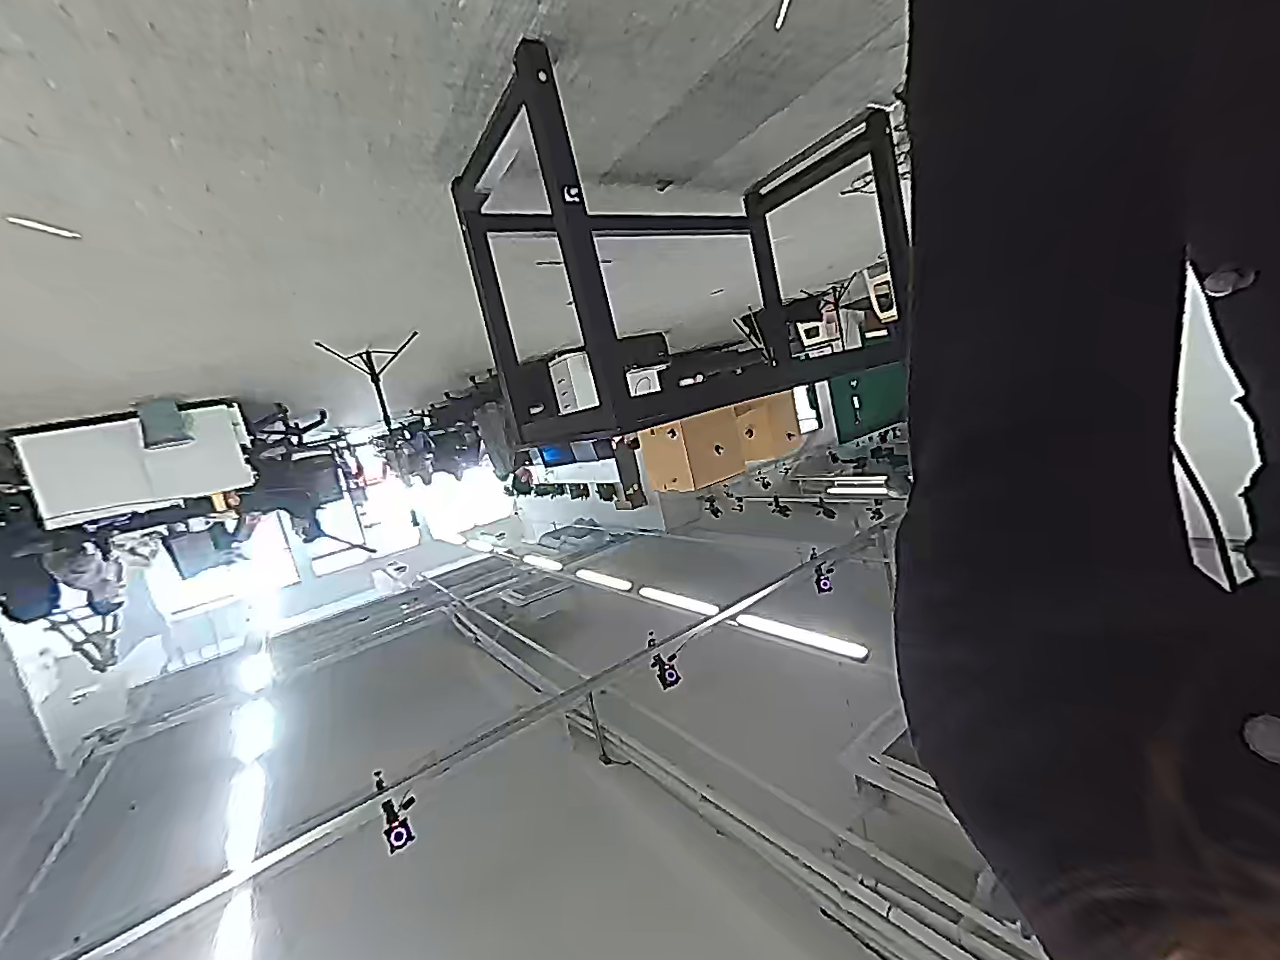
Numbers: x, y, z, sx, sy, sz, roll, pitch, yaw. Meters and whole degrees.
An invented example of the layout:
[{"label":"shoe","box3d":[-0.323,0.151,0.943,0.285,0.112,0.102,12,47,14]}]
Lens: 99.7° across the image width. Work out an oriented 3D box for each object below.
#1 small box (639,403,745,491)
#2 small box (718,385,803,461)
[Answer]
[{"label":"small box","box3d":[0.120,-0.079,1.293,0.179,0.176,0.168,-20,-169,-35]},{"label":"small box","box3d":[0.320,-0.153,1.476,0.168,0.176,0.179,-5,-169,43]}]
